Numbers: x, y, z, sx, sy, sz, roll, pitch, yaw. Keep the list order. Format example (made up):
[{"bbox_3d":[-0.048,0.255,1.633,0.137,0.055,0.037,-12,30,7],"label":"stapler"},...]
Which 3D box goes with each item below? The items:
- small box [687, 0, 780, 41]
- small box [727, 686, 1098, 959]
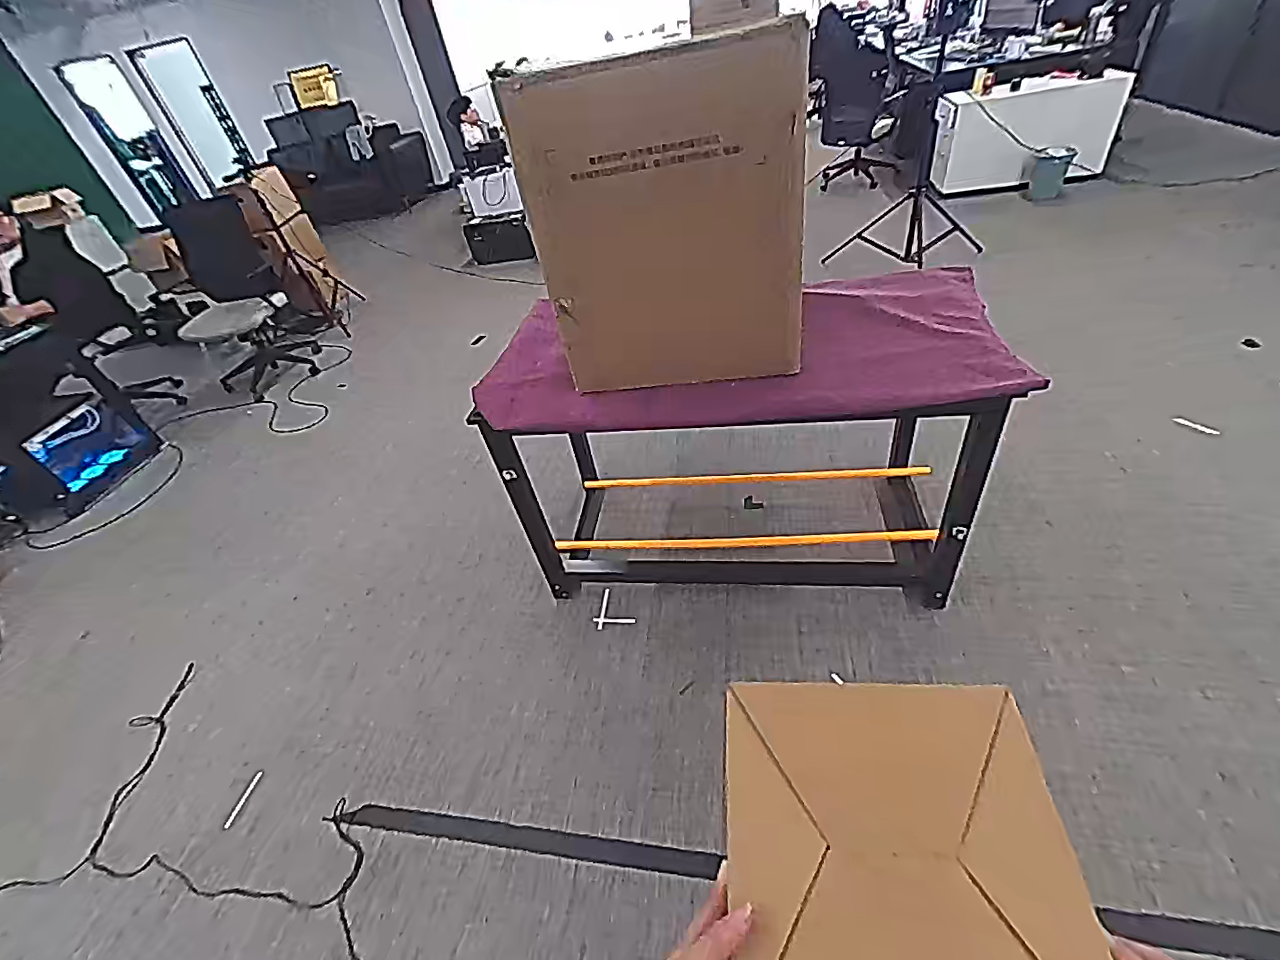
[{"bbox_3d":[0.173,-0.940,1.006,0.168,0.176,0.179,-2,41,13],"label":"small box"},{"bbox_3d":[0.143,0.249,0.334,0.168,0.176,0.179,-4,45,12],"label":"small box"}]
